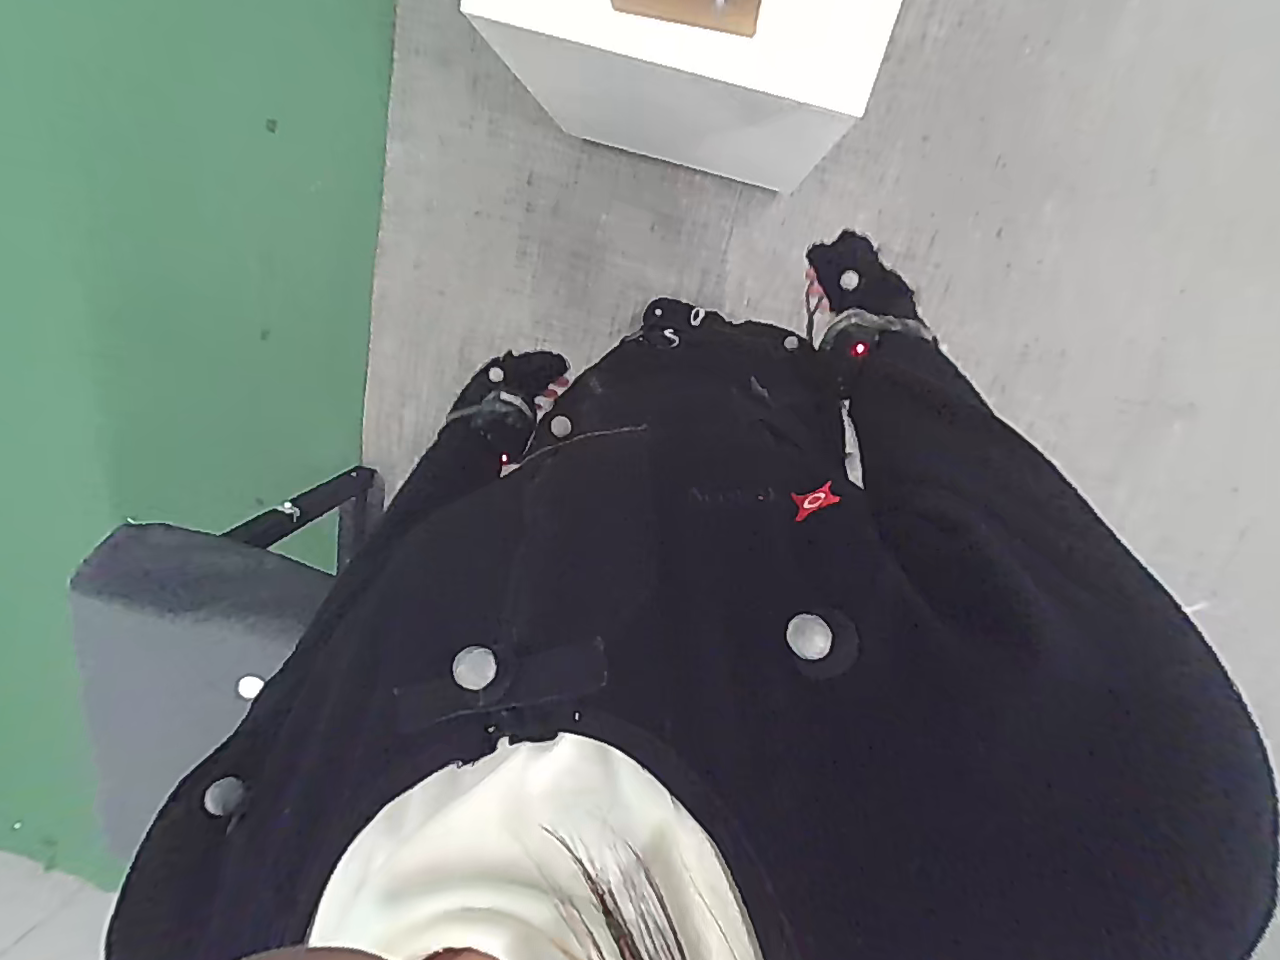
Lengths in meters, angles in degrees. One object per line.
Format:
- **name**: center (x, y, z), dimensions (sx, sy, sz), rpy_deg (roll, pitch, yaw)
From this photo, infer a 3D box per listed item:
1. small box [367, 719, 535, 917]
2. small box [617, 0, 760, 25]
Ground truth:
- **small box**: center (-0.272, 0.493, 0.808), dimensions (0.179, 0.176, 0.168), rpy_deg (18, 111, 1)
- **small box**: center (0.057, -0.588, 0.528), dimensions (0.179, 0.176, 0.168), rpy_deg (13, 109, 4)
